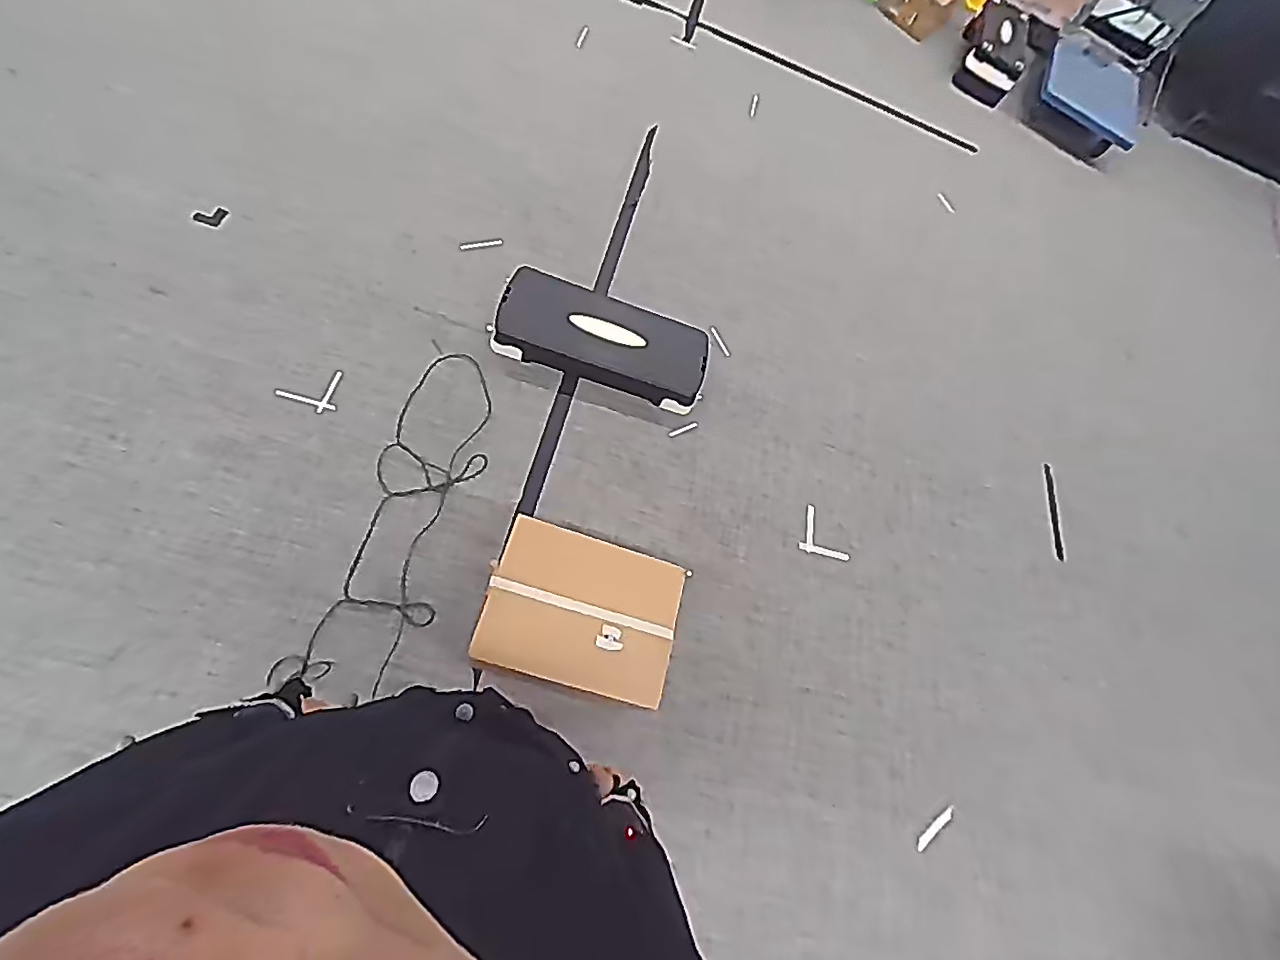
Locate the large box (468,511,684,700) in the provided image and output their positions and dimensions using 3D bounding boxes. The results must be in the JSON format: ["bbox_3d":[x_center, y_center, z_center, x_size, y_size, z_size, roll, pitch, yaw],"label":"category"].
[{"bbox_3d":[-0.160,0.312,1.274,0.408,0.320,0.320,19,65,-9],"label":"large box"}]
